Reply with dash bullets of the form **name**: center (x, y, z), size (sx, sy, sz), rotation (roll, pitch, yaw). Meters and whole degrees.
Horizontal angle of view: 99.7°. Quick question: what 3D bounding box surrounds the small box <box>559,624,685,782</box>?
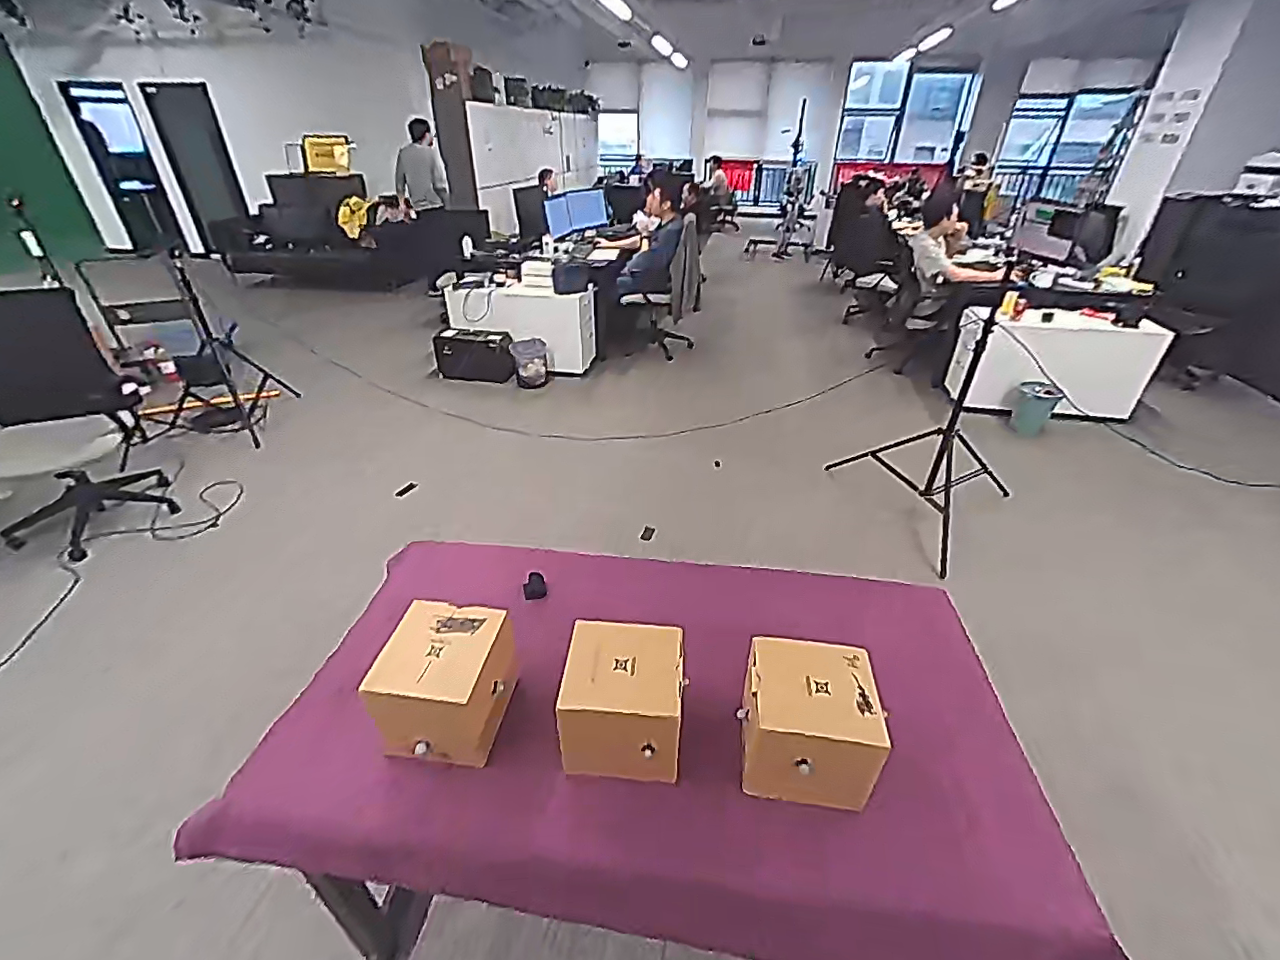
- **small box**: center (-0.021, 0.351, 0.853), size (0.179, 0.176, 0.168), rotation (1, 31, 3)

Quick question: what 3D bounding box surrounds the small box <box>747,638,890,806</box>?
- **small box**: center (0.256, 0.367, 0.826), size (0.179, 0.176, 0.168), rotation (4, 32, 7)
